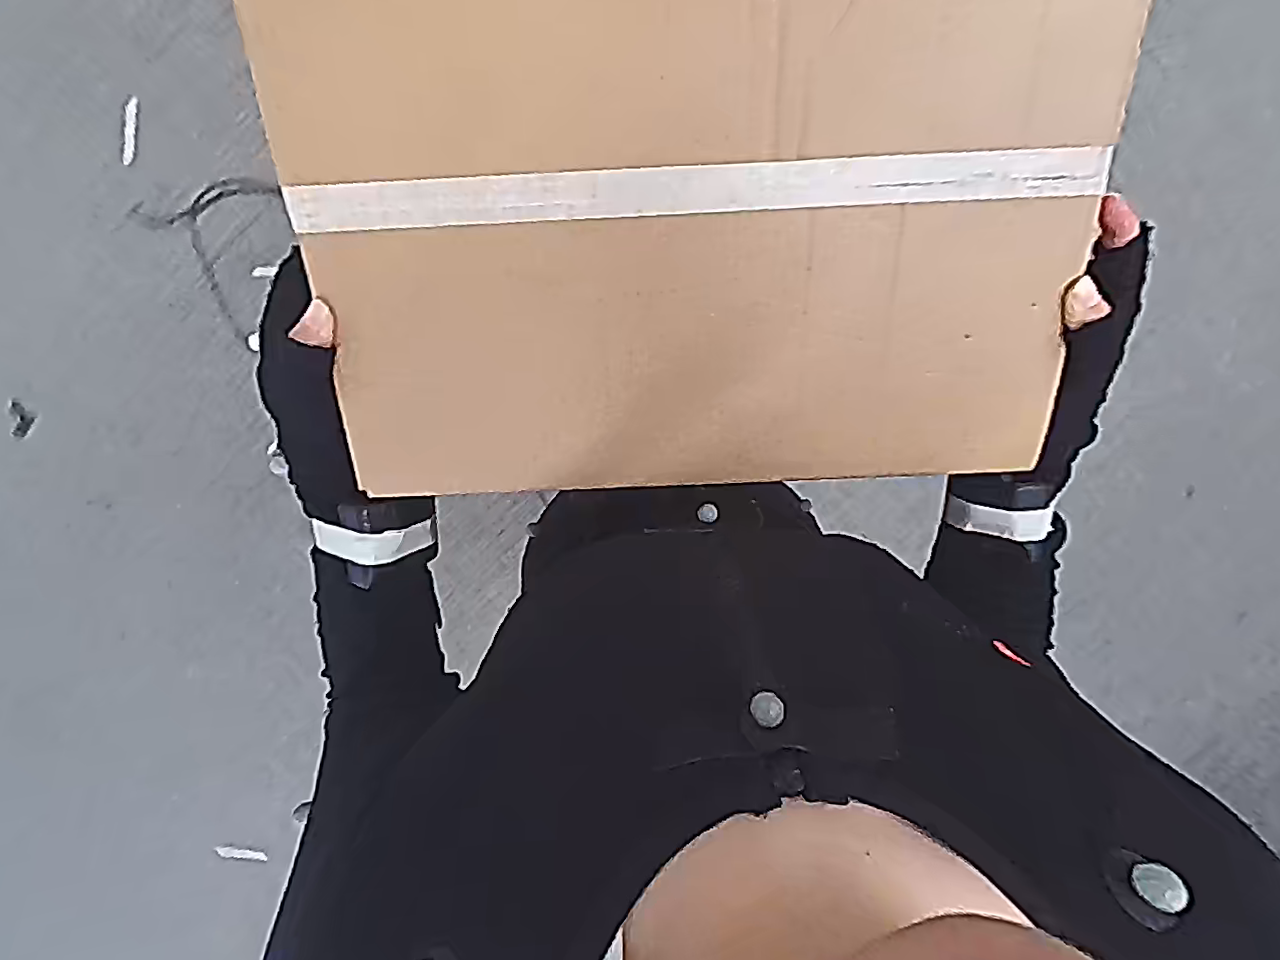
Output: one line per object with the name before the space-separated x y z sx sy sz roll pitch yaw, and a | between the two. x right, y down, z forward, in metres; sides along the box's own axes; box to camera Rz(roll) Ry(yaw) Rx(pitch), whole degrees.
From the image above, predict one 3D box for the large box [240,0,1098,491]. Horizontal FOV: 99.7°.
large box | 0.015 -0.203 0.418 0.408 0.320 0.320 -4 112 0
